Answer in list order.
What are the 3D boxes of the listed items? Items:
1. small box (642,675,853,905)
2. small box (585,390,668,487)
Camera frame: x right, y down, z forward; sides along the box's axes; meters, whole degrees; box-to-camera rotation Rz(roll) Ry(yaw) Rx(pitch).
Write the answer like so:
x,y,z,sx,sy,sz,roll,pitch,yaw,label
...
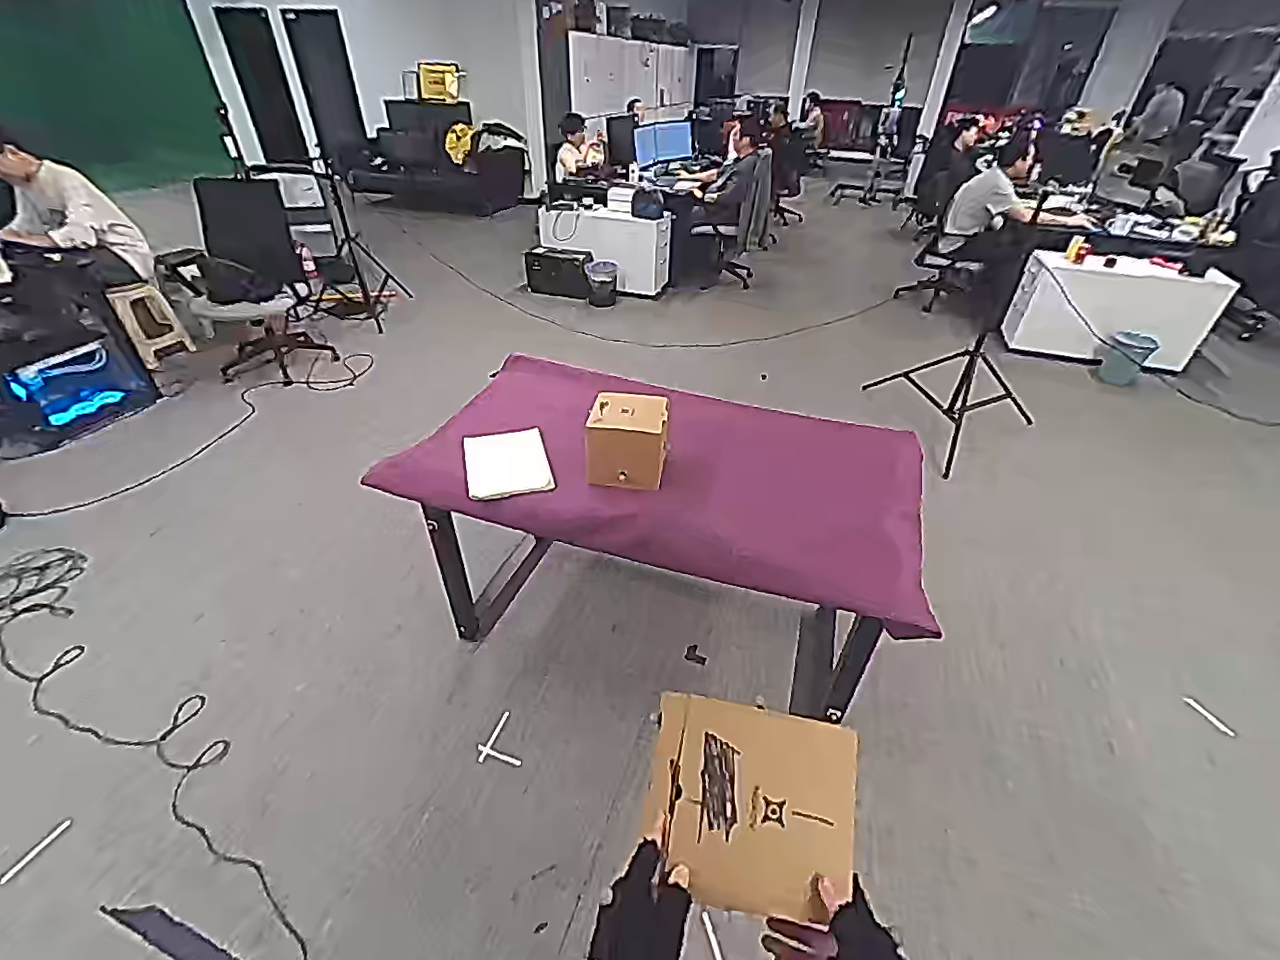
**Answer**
x,y,z,sx,sy,sz,roll,pitch,yaw,label
0.104,0.312,0.578,0.179,0.176,0.168,12,69,-2,small box
-0.030,-0.099,1.320,0.179,0.176,0.168,6,37,6,small box
